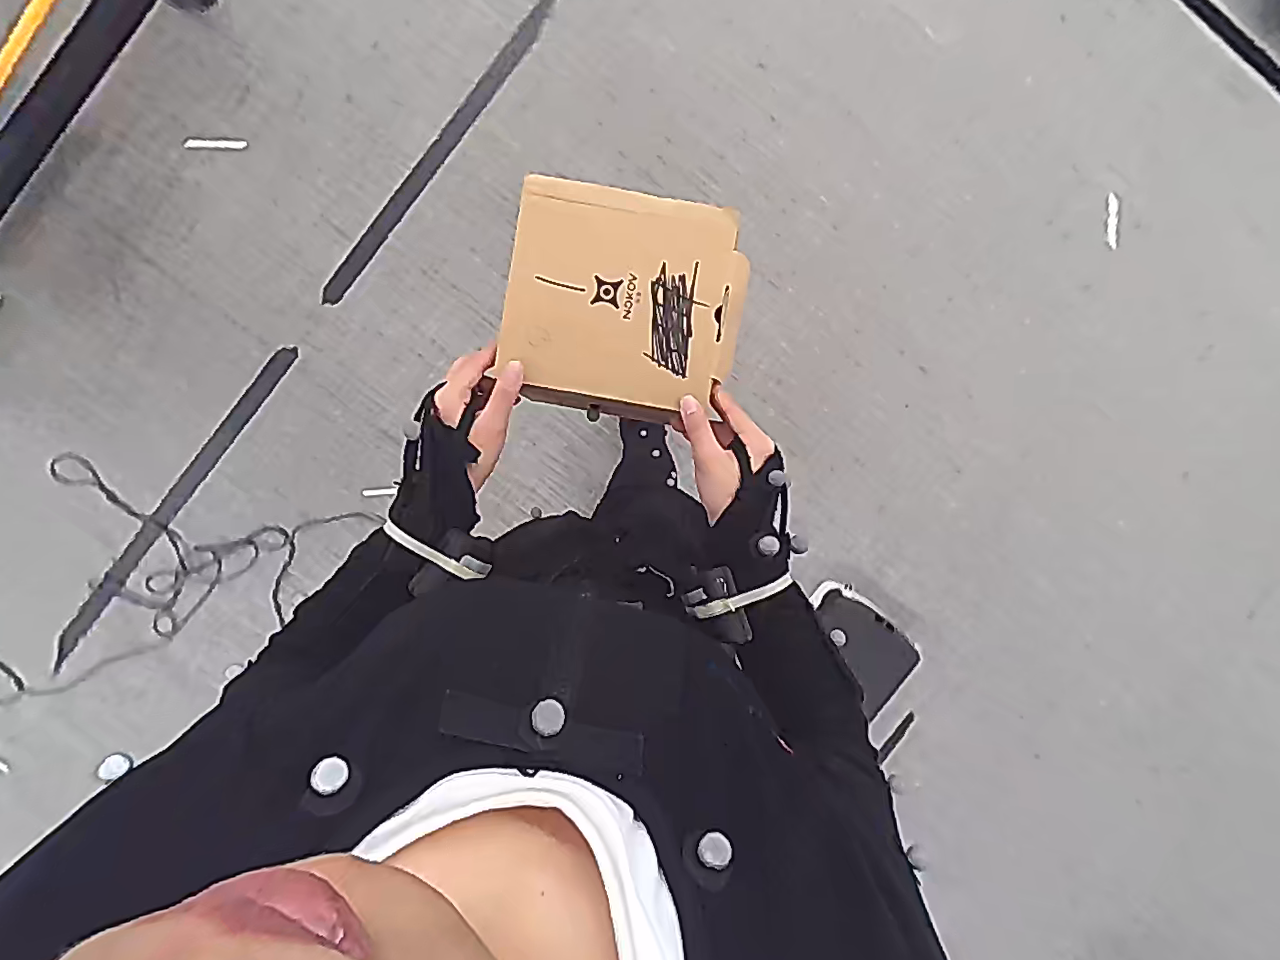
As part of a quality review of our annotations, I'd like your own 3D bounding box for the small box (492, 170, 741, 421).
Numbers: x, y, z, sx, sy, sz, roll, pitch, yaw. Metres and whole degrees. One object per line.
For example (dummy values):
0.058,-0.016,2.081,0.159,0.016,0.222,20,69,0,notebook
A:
-0.020,-0.150,0.503,0.179,0.176,0.168,9,92,-1,small box
